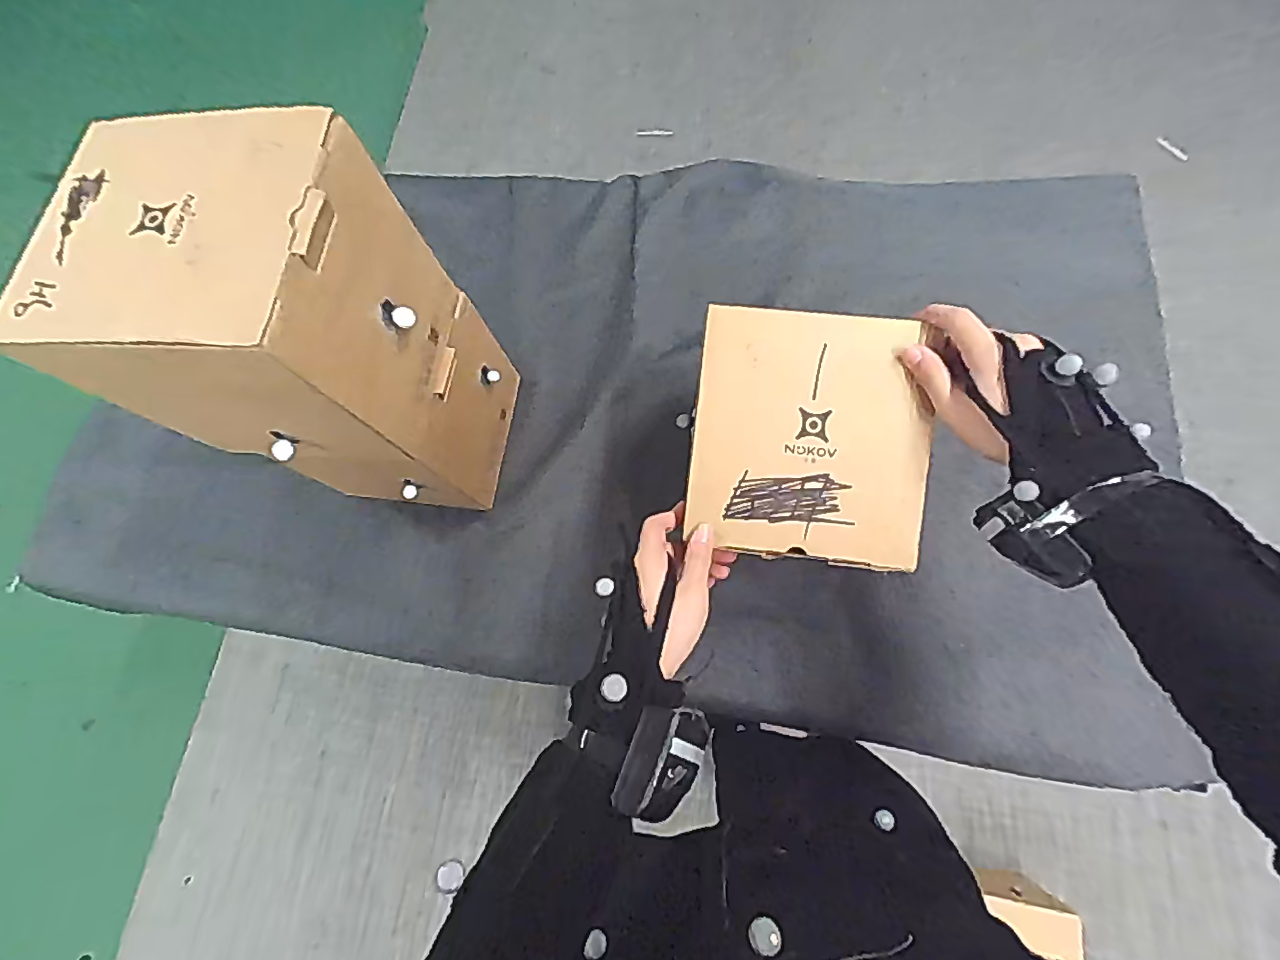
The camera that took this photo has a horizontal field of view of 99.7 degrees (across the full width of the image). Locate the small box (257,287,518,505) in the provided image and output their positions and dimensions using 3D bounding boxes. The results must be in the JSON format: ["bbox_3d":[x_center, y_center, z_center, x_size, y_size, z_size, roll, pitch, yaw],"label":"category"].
[{"bbox_3d":[-0.240,-0.079,0.549,0.179,0.176,0.168,5,71,9],"label":"small box"}]

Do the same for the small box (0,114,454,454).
[{"bbox_3d":[-0.259,-0.125,0.392,0.179,0.176,0.168,3,71,7],"label":"small box"}]

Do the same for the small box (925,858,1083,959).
[{"bbox_3d":[0.621,0.790,0.938,0.179,0.176,0.168,7,72,8],"label":"small box"}]

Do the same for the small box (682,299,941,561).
[{"bbox_3d":[0.128,-0.038,0.466,0.168,0.176,0.179,6,90,5],"label":"small box"}]
